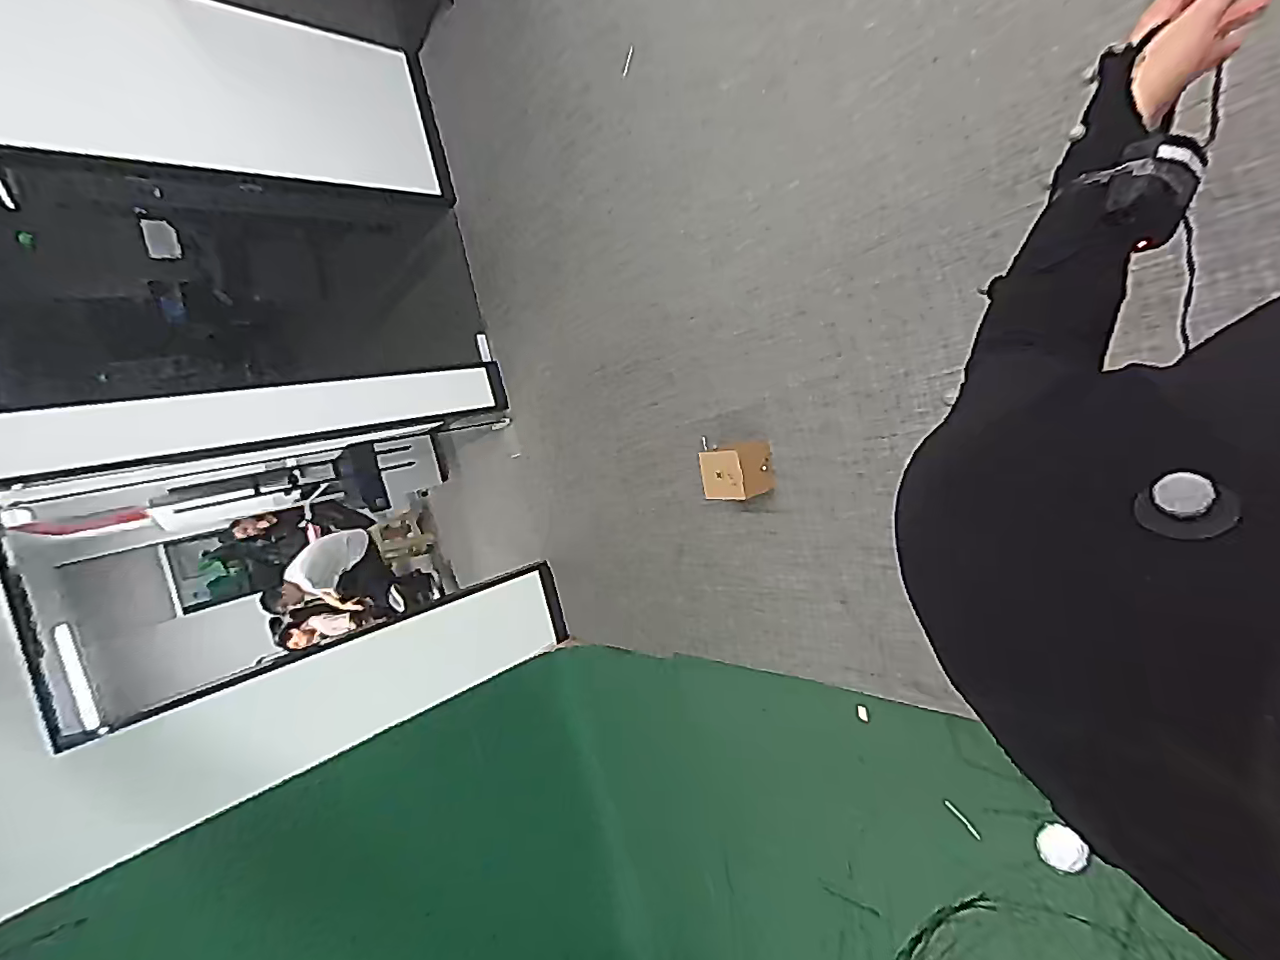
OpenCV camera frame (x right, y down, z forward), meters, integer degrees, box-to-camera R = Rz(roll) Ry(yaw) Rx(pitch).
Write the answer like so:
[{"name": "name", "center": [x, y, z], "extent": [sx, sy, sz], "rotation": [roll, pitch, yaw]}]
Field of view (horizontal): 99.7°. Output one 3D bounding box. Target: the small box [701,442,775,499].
[{"name": "small box", "center": [0.338, -0.035, 1.856], "extent": [0.179, 0.176, 0.168], "rotation": [-1, 103, 50]}]
